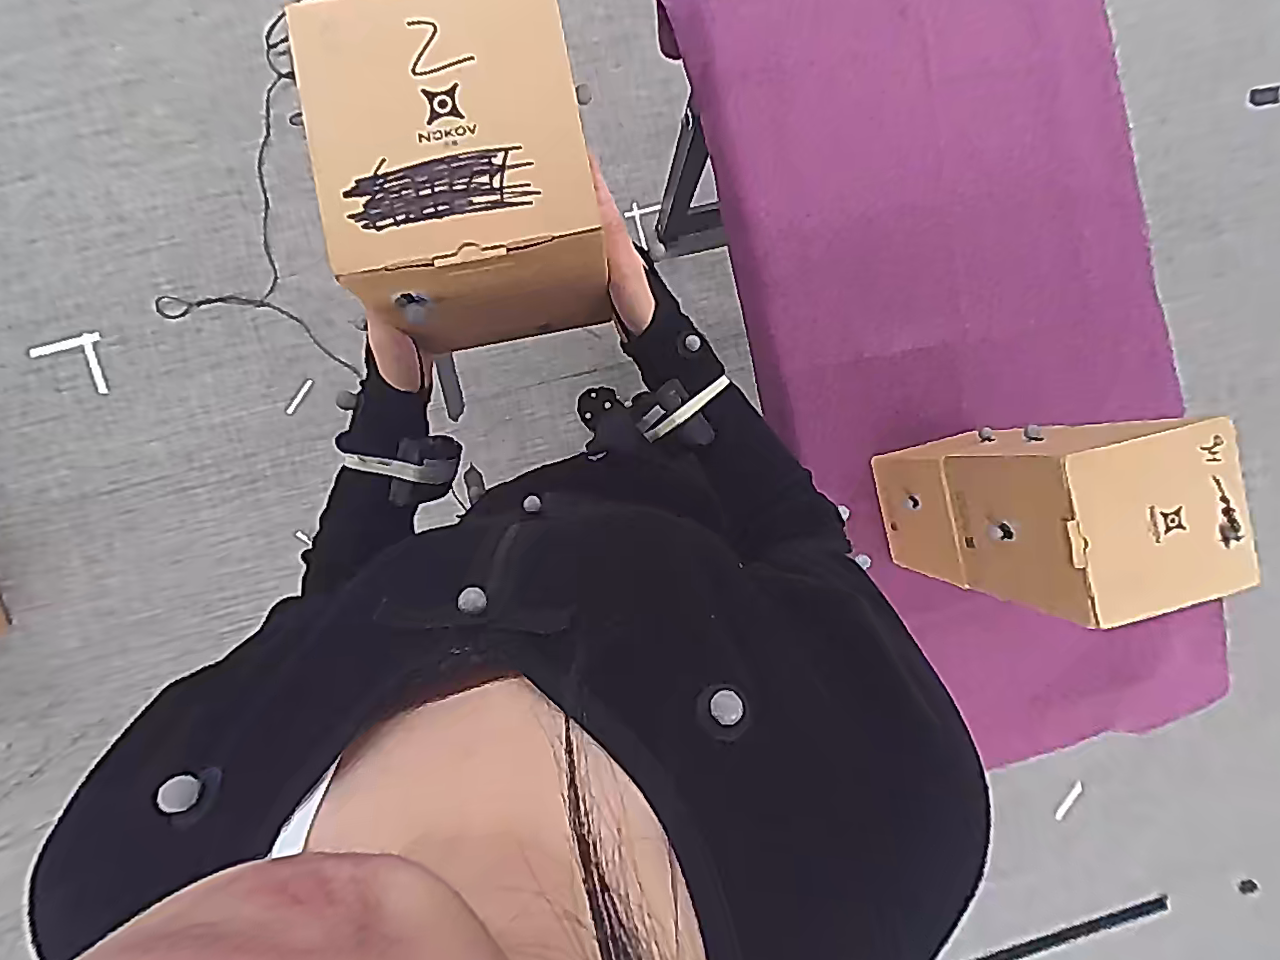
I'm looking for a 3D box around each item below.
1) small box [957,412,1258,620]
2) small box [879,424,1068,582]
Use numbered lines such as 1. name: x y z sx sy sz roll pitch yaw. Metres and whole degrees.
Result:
1. small box: 0.472 0.032 0.578 0.179 0.176 0.168 -13 93 -5
2. small box: 0.453 0.027 0.741 0.179 0.176 0.168 -14 93 -5
